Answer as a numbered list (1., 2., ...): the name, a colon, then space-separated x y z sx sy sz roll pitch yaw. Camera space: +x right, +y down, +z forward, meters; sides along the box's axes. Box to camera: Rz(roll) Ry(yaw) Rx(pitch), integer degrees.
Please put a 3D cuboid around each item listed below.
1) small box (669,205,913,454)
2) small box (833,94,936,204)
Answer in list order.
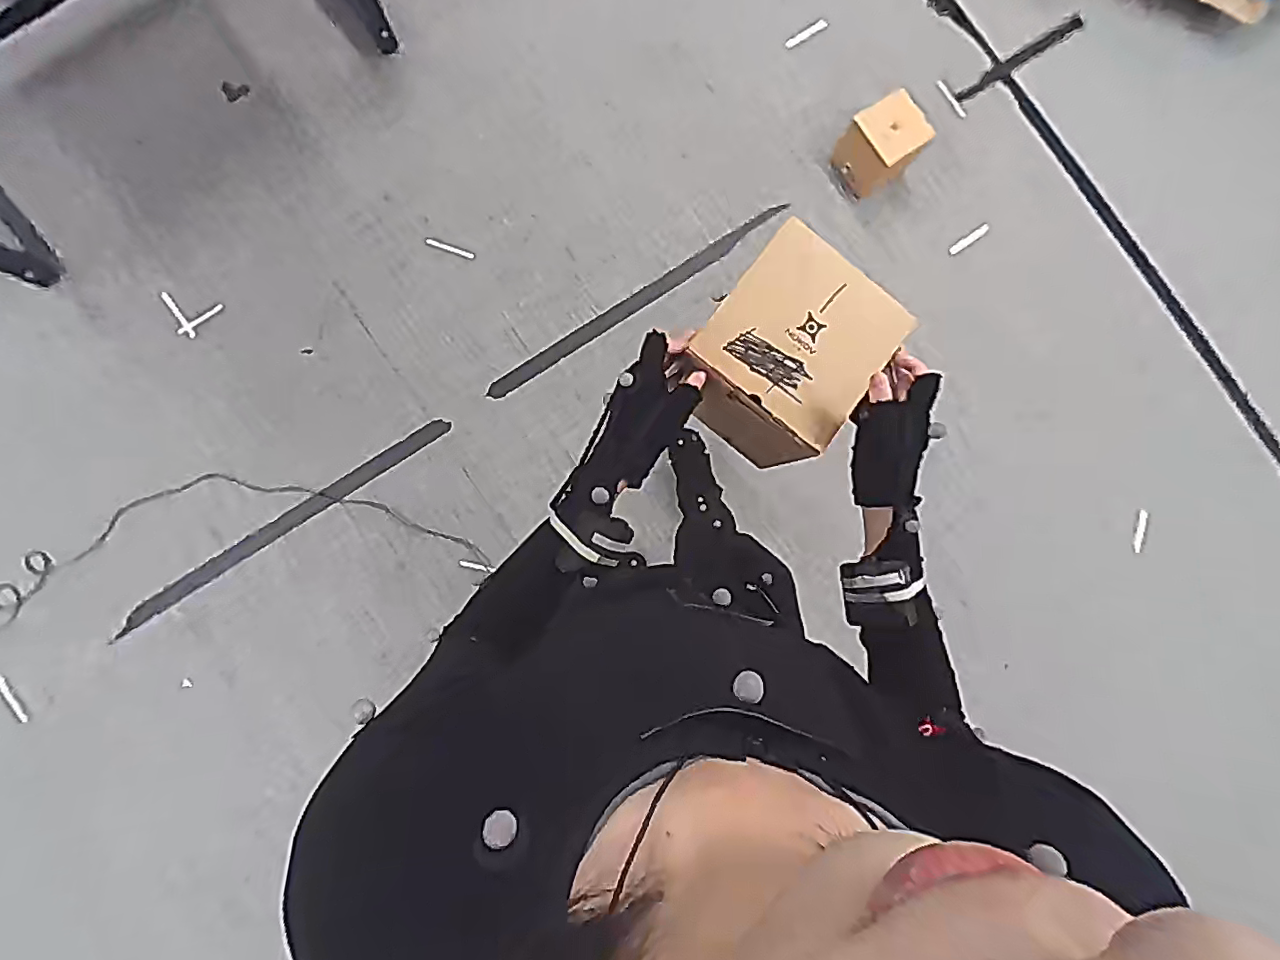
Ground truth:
1. small box: 0.148 -0.147 0.597 0.168 0.176 0.179 36 82 -3
2. small box: 0.698 -0.947 1.562 0.179 0.176 0.168 -34 88 -5
